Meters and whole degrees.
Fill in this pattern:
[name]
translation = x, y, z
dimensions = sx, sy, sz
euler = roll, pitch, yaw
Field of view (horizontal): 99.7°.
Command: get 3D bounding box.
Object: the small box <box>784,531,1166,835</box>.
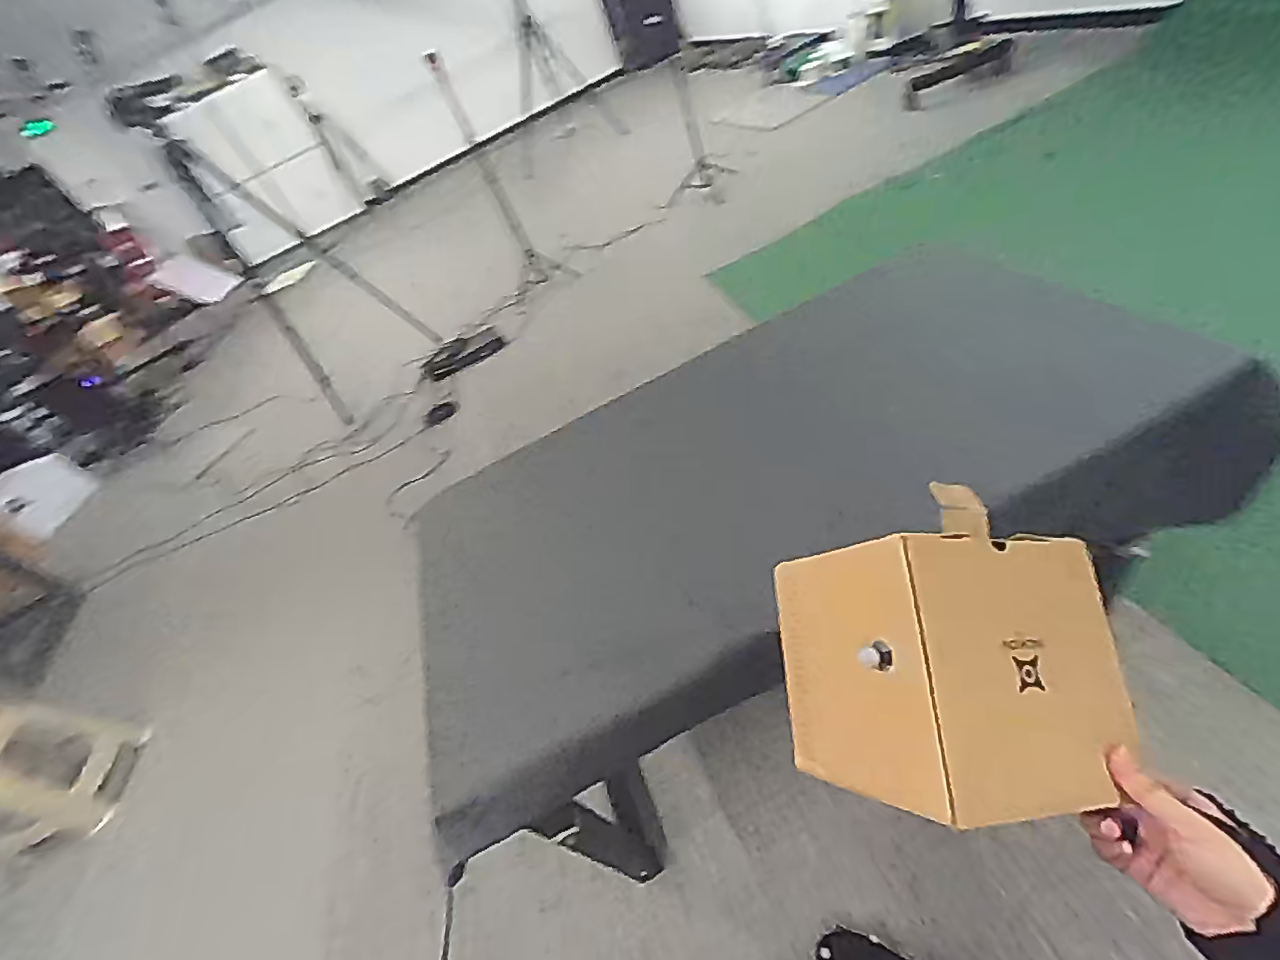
[small box]
translation = 0.231, 0.145, 0.420
dimensions = 0.168, 0.176, 0.179
euler = 4, 70, -17
